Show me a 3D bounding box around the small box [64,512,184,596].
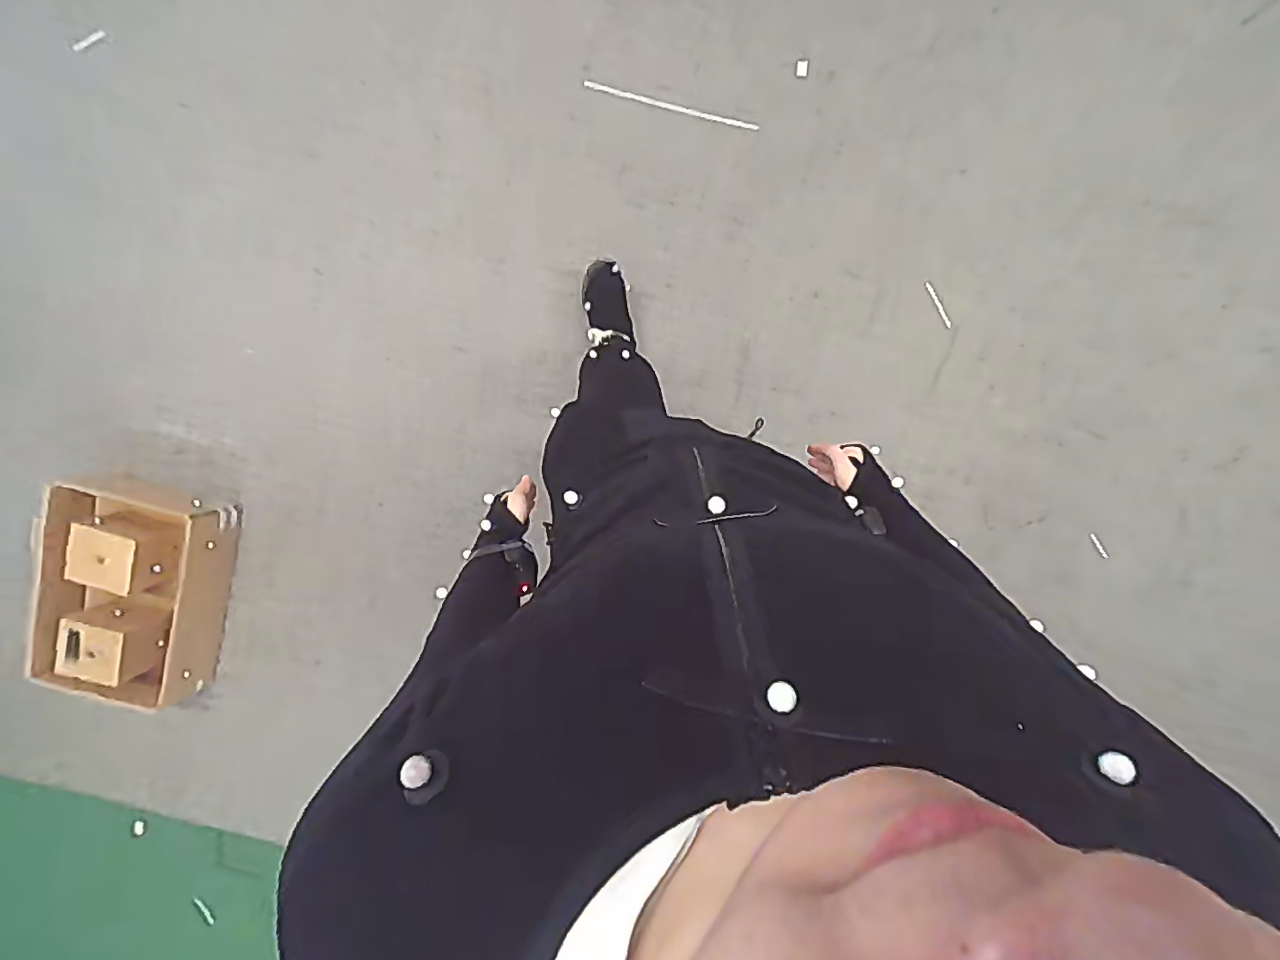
[{"bbox_3d":[-1.451,0.202,1.531,0.179,0.176,0.168,17,99,-2],"label":"small box"}]
